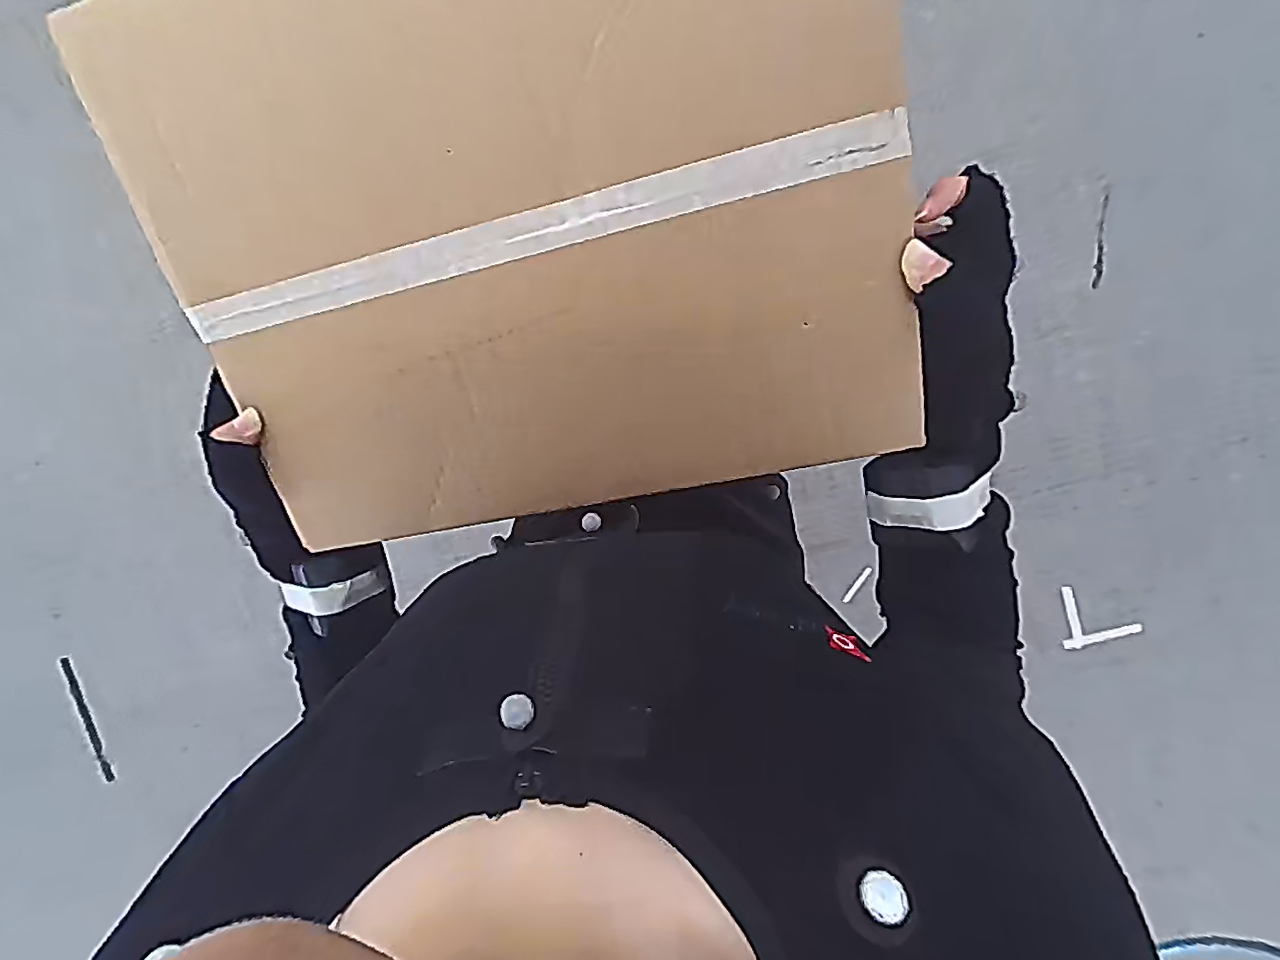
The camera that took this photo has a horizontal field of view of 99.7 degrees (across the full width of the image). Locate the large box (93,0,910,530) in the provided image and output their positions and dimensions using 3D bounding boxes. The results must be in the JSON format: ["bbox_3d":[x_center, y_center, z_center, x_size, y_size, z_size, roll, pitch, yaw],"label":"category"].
[{"bbox_3d":[-0.055,-0.191,0.439,0.408,0.320,0.320,-10,110,10],"label":"large box"}]
